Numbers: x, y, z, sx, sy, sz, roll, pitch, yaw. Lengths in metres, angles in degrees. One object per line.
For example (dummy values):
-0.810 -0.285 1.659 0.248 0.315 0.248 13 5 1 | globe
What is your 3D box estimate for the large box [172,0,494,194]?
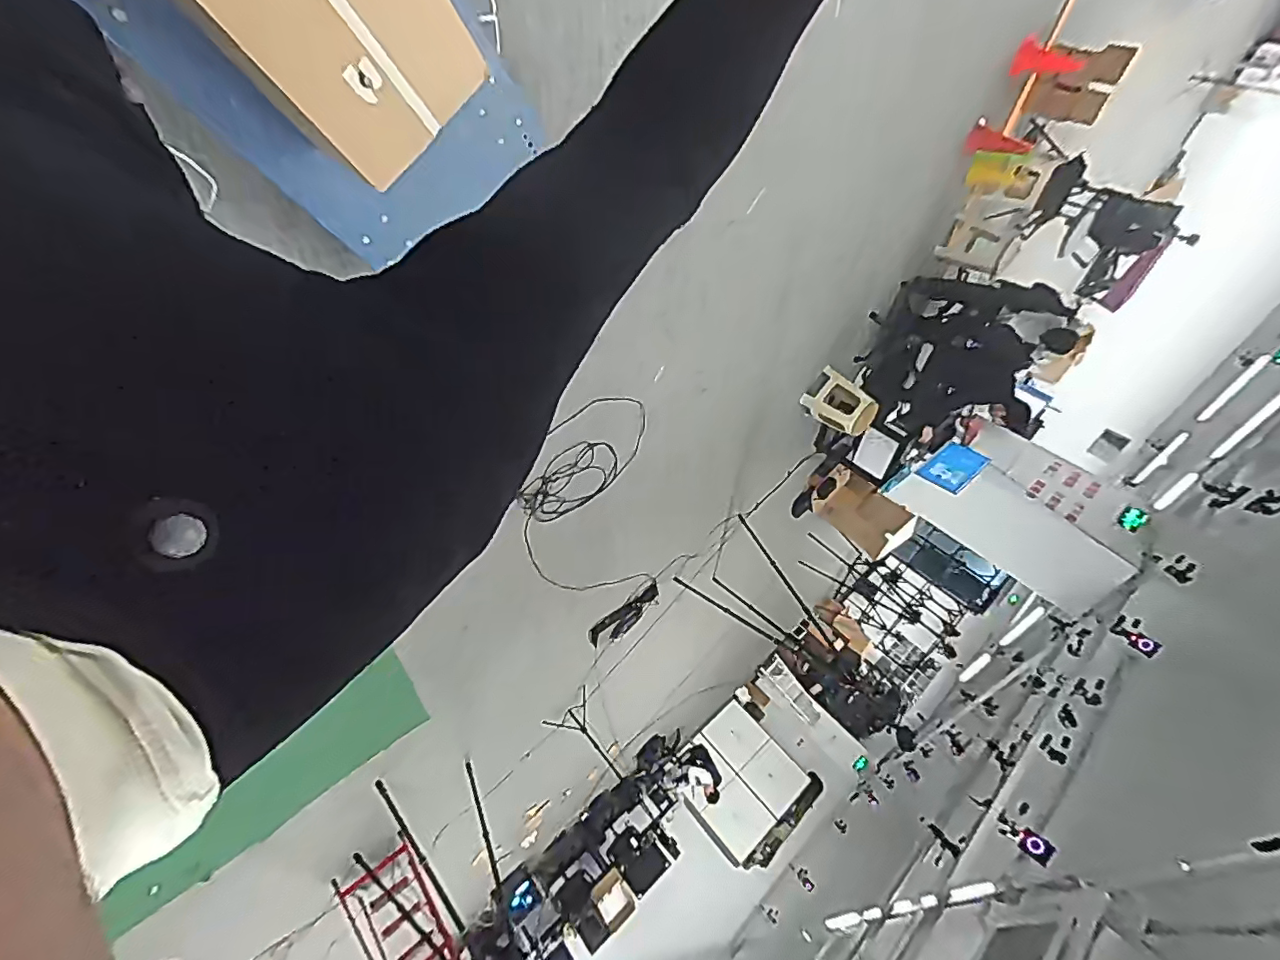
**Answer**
-0.541 -0.792 0.908 0.320 0.320 0.408 -48 151 -2 | large box
